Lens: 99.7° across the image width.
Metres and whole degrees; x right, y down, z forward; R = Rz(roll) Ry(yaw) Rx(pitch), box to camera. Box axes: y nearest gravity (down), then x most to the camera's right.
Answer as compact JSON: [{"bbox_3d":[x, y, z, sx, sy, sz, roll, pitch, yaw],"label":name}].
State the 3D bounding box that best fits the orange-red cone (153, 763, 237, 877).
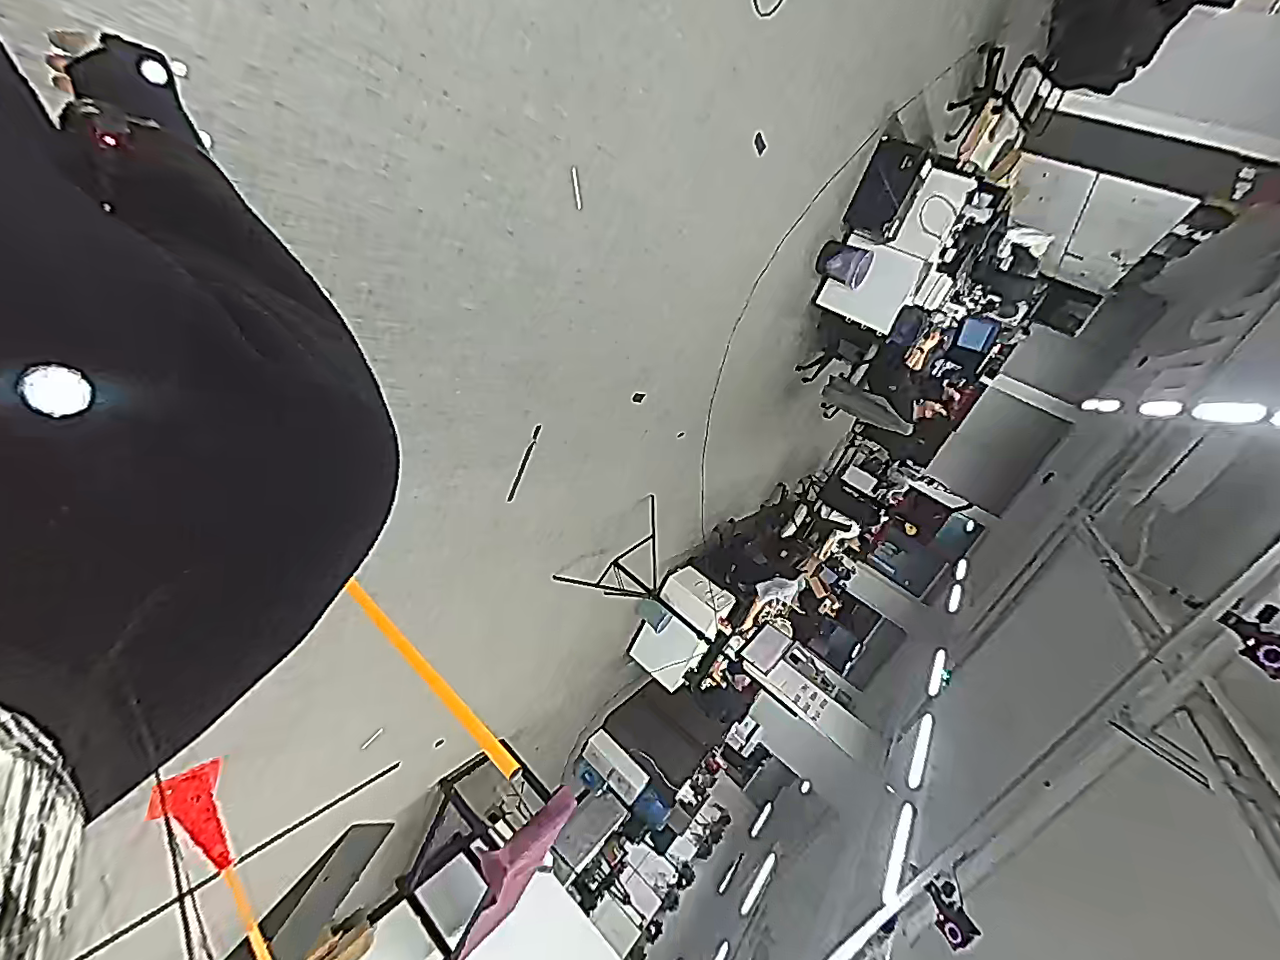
[{"bbox_3d":[-1.485,1.208,1.865,0.198,0.360,0.199,-7,128,-58],"label":"orange-red cone"}]
